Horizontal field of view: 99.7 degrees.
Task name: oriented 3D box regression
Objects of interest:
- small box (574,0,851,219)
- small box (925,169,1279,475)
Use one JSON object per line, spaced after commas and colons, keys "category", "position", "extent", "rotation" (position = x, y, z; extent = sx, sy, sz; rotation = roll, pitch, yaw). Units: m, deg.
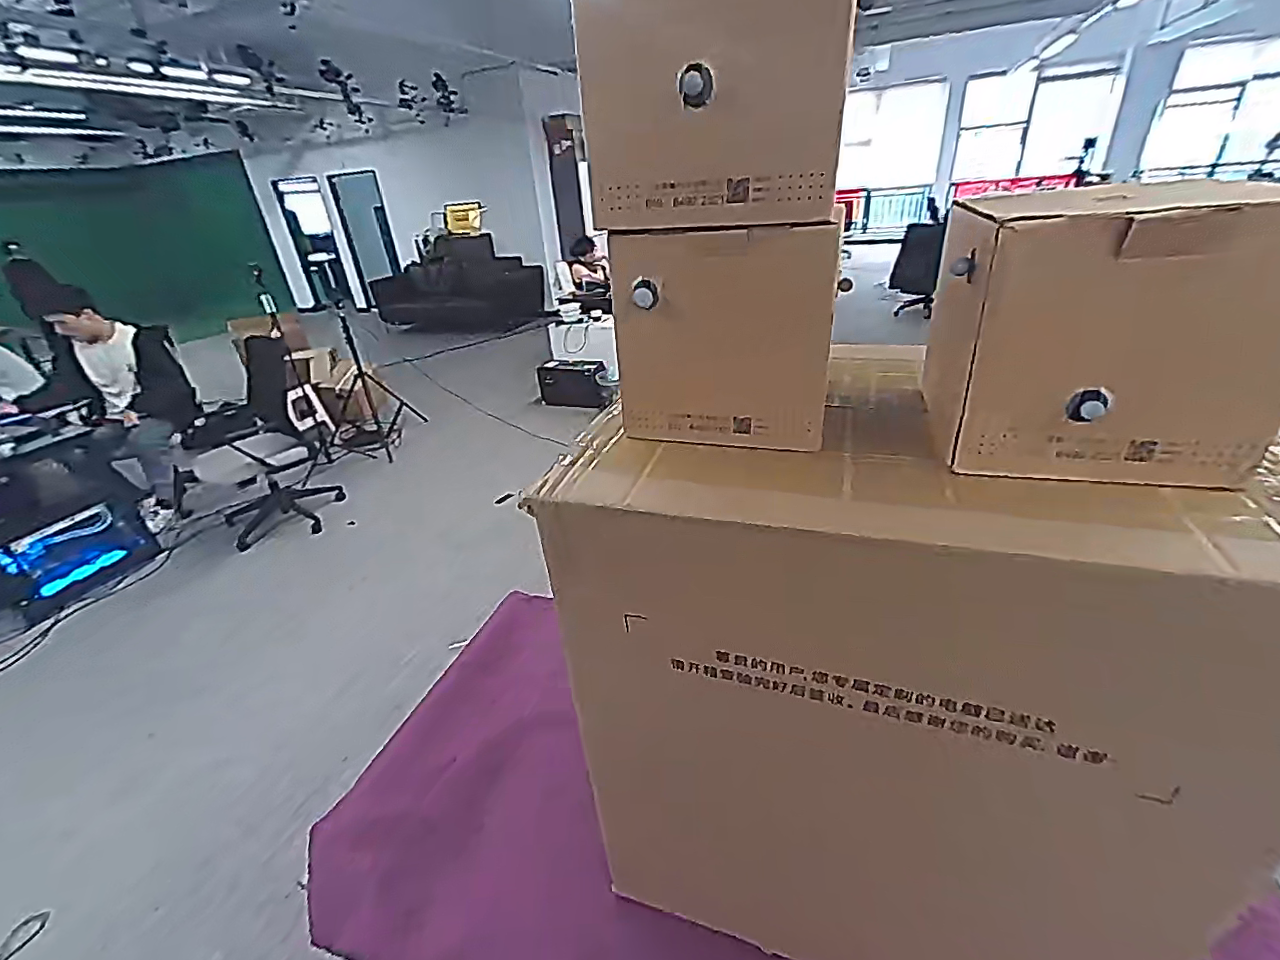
{"category": "small box", "position": [0.063, -0.290, 0.398], "extent": [0.168, 0.176, 0.179], "rotation": [5, 30, 15]}
{"category": "small box", "position": [0.317, -0.120, 0.392], "extent": [0.168, 0.176, 0.179], "rotation": [3, 31, 18]}
